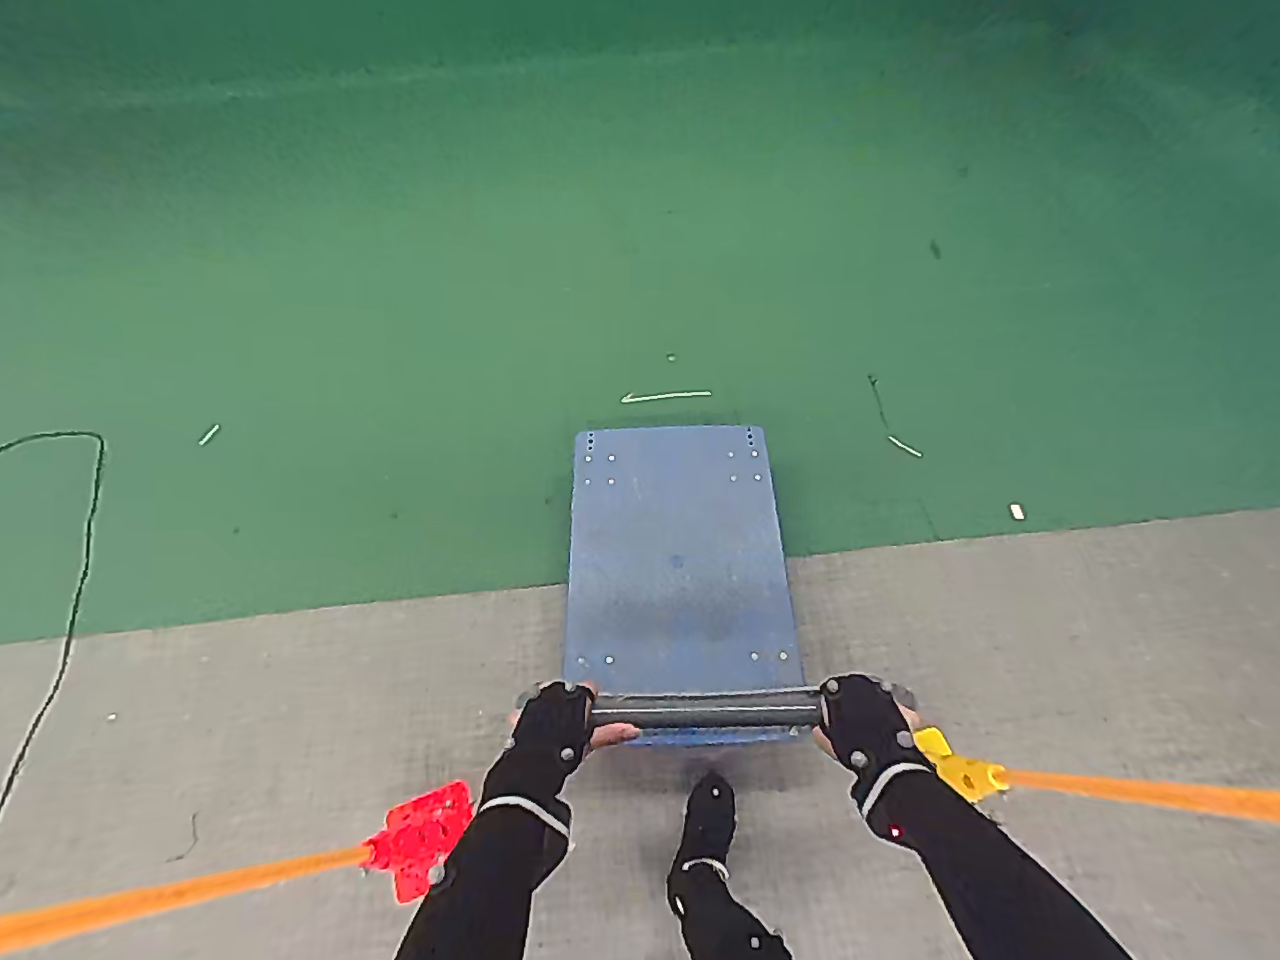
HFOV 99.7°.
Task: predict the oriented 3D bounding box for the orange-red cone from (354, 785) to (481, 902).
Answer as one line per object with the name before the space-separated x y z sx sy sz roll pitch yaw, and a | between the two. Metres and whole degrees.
orange-red cone | -0.494 0.772 1.133 0.199 0.360 0.198 -20 61 -7
